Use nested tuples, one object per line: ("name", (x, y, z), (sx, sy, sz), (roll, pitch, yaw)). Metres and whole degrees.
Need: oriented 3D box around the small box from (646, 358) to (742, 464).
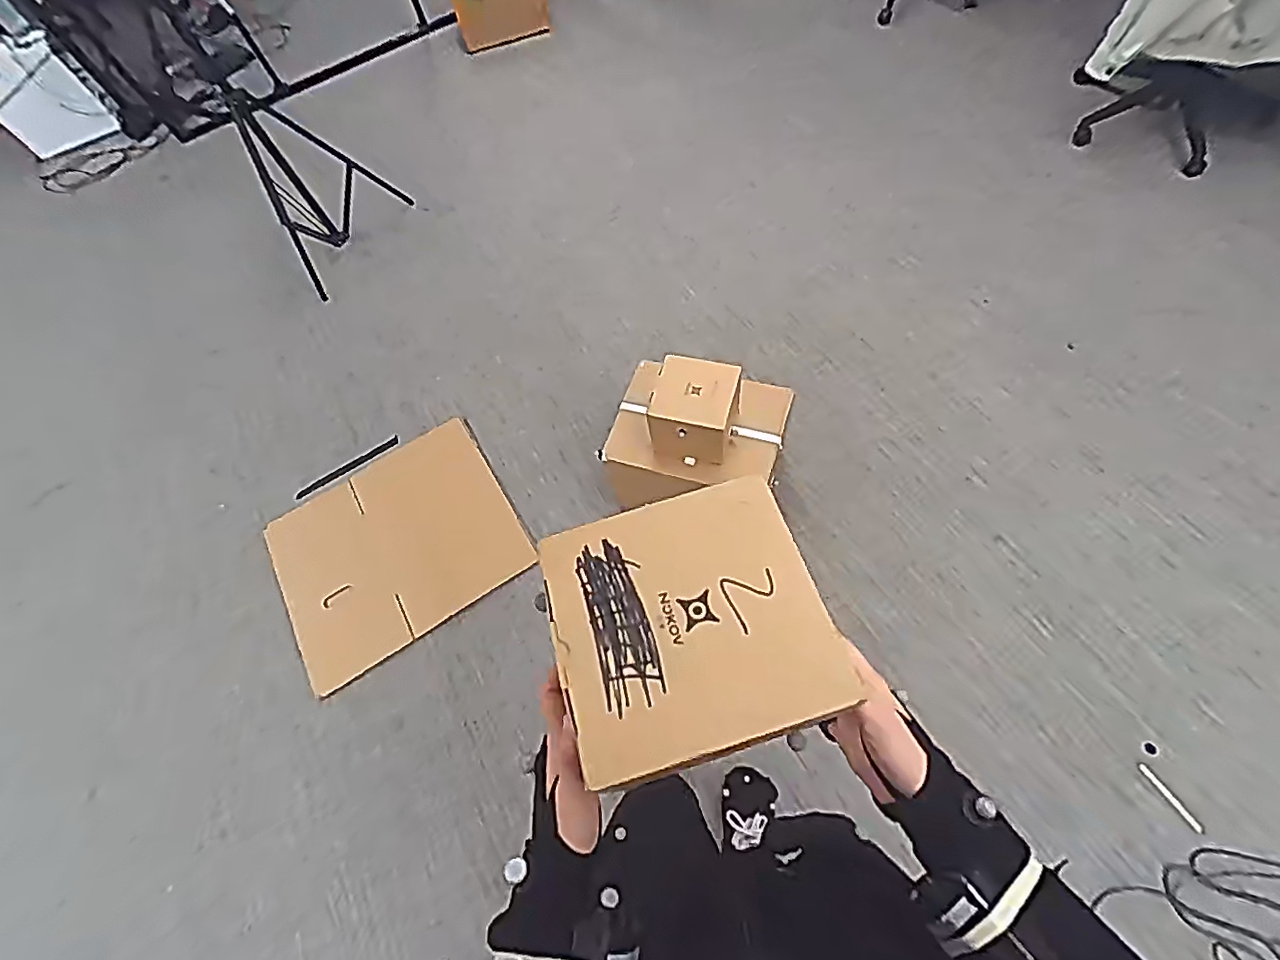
("small box", (0.128, -0.153, 1.240), (0.179, 0.176, 0.168), (13, 68, 13))
